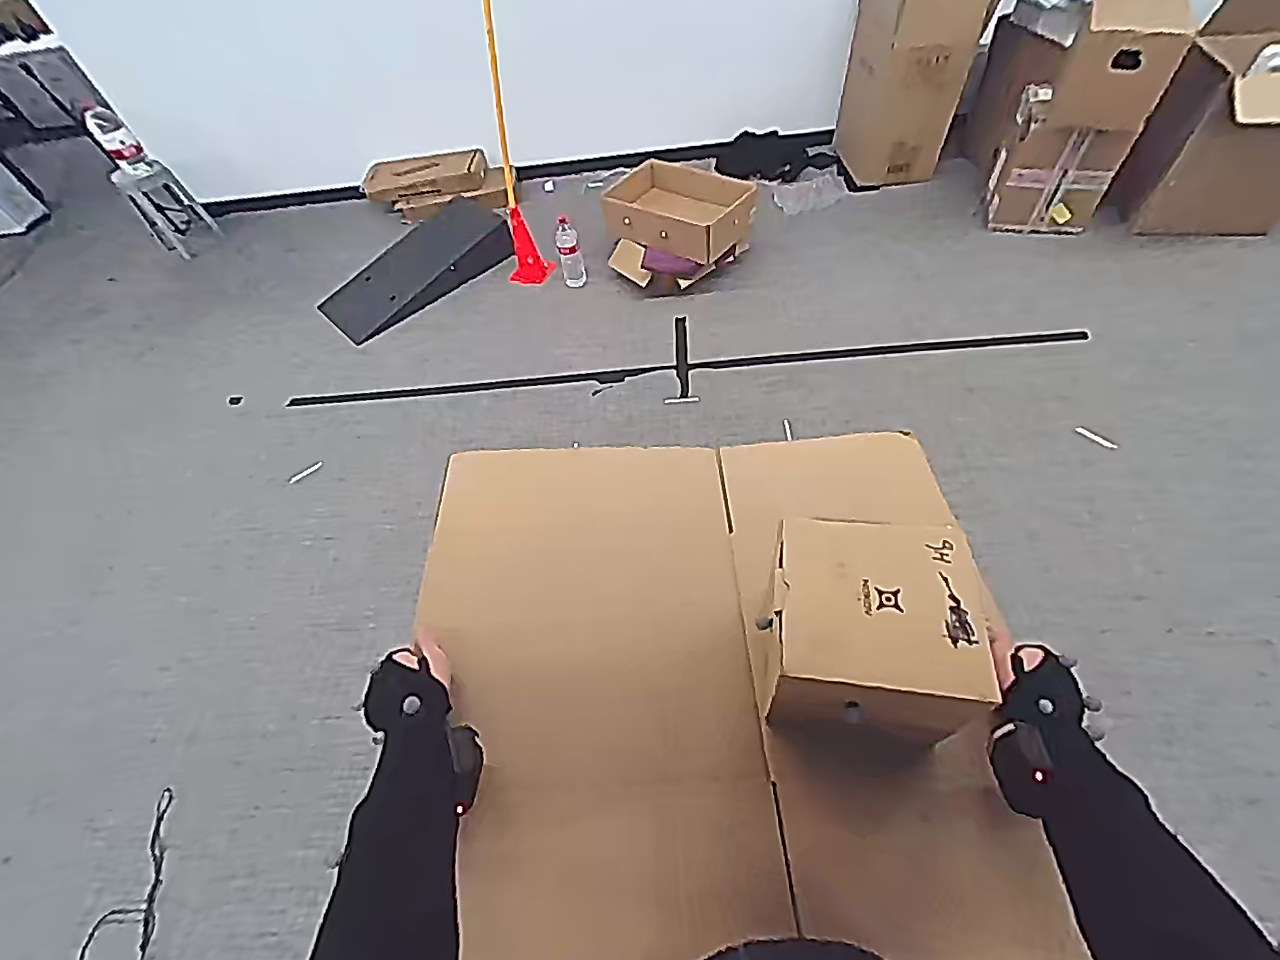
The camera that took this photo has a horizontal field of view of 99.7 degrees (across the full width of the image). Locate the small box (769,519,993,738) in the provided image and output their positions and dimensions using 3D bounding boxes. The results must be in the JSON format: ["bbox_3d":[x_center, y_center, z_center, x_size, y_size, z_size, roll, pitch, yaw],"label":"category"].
[{"bbox_3d":[0.229,0.158,0.567,0.179,0.176,0.168,3,54,11],"label":"small box"}]
